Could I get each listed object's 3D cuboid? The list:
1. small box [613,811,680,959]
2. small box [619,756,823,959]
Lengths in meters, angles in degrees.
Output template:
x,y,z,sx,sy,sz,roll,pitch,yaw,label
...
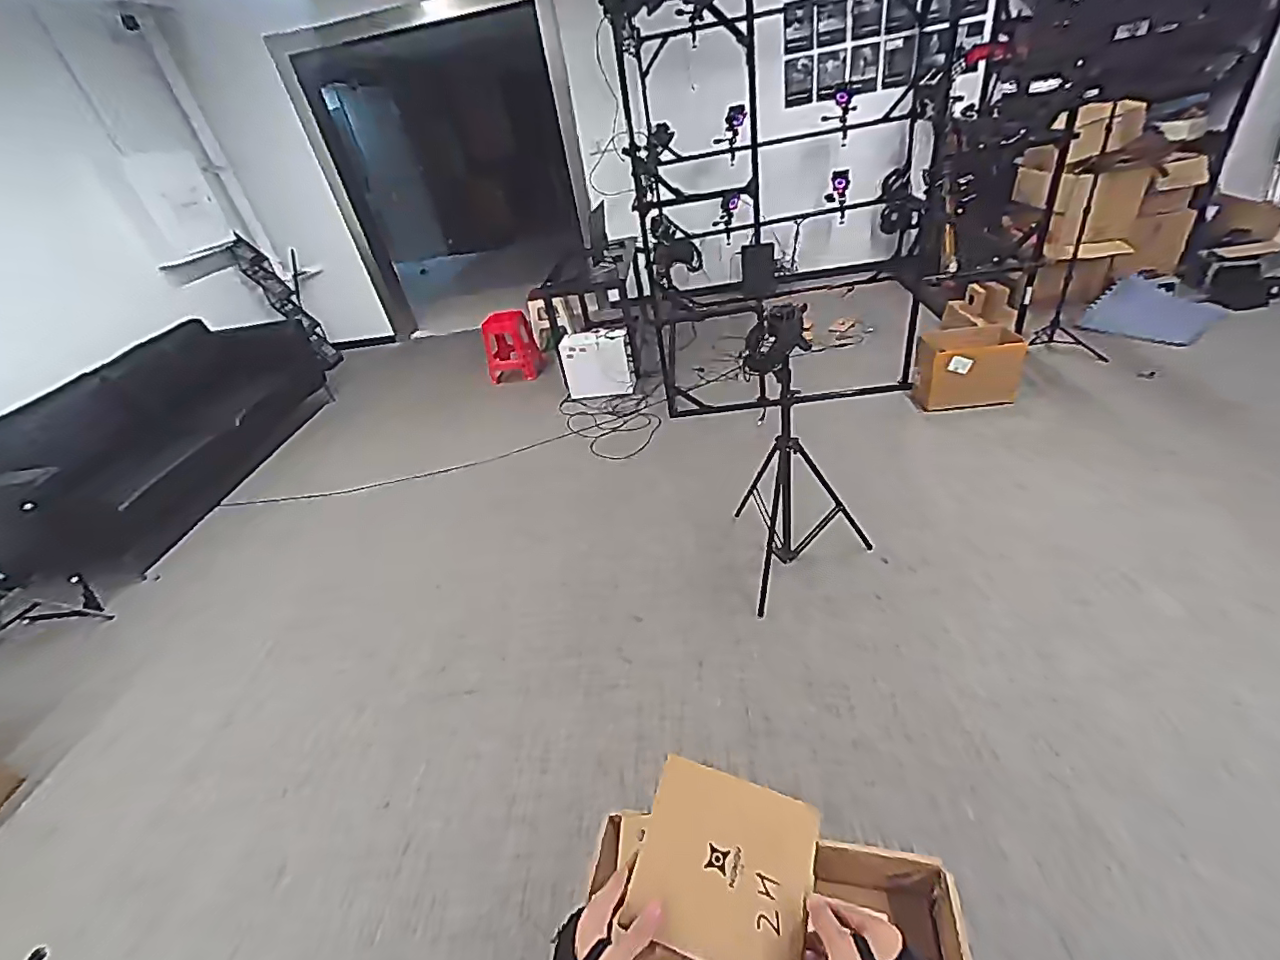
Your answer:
x,y,z,sx,sy,sz,roll,pitch,yaw,label
0.059,0.646,0.838,0.168,0.176,0.179,-5,34,8,small box
0.090,0.446,0.609,0.179,0.176,0.168,14,51,15,small box
